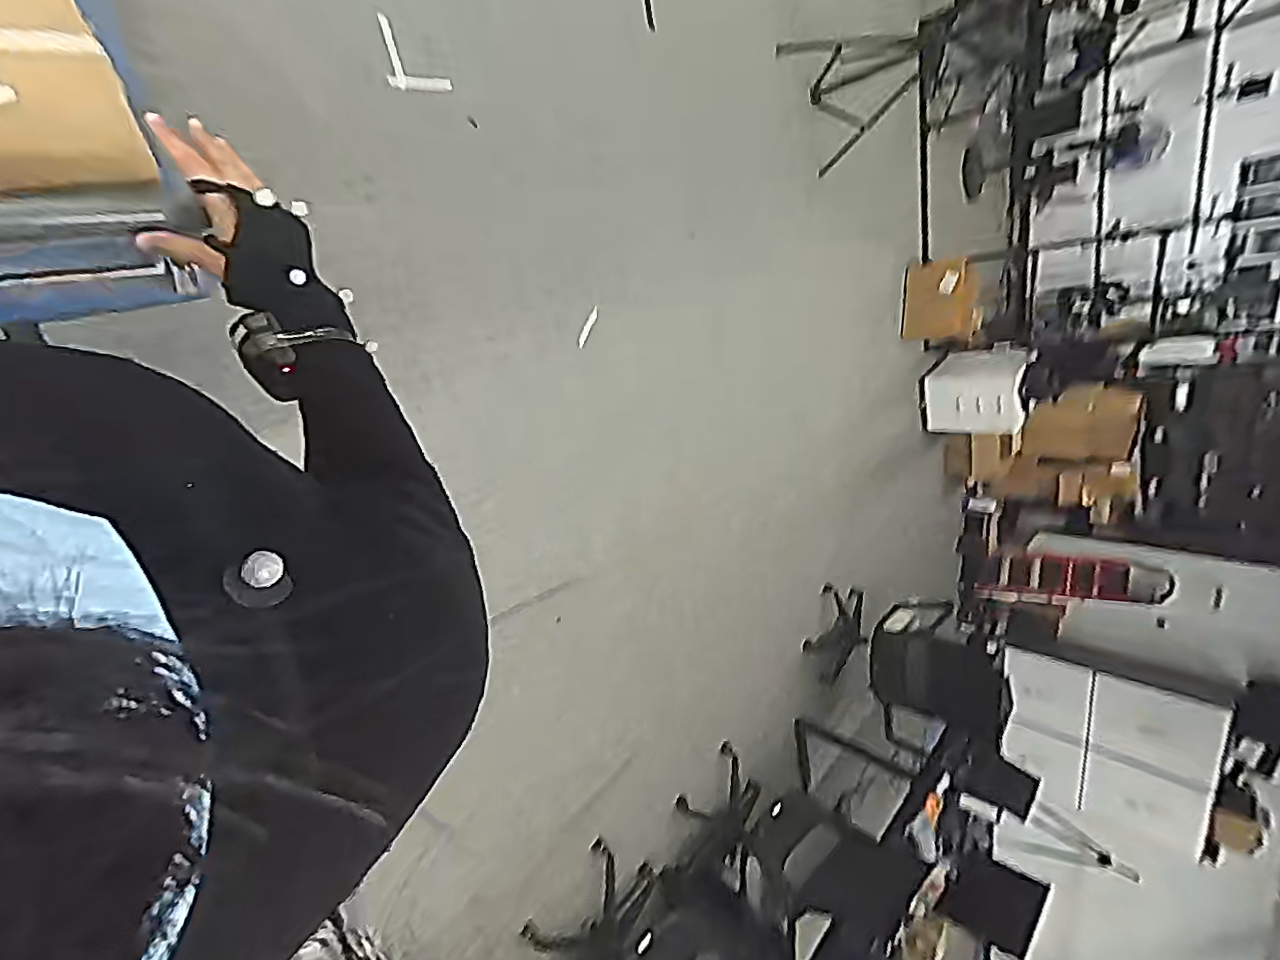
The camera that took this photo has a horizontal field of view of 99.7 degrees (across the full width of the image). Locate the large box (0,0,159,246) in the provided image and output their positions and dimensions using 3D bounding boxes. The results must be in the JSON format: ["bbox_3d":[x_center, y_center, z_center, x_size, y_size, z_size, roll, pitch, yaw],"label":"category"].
[{"bbox_3d":[-0.955,-0.492,0.698,0.408,0.320,0.320,-31,118,-38],"label":"large box"}]
